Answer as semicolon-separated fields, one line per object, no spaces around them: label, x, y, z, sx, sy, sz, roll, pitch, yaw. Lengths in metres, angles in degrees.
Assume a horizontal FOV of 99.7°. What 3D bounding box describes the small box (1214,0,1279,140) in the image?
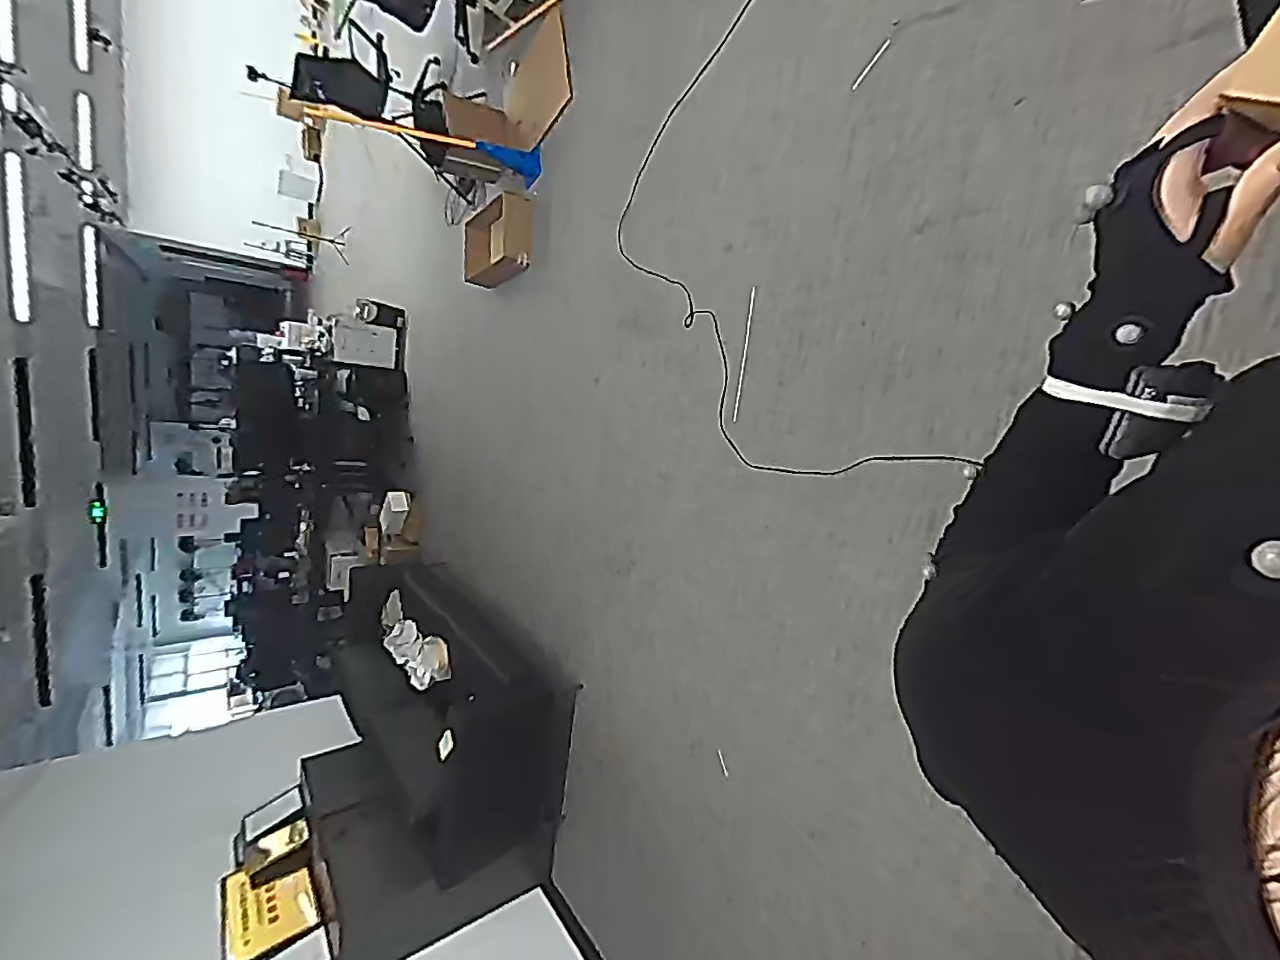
small box;0.428;-0.230;0.228;0.179;0.176;0.168;48;136;40
